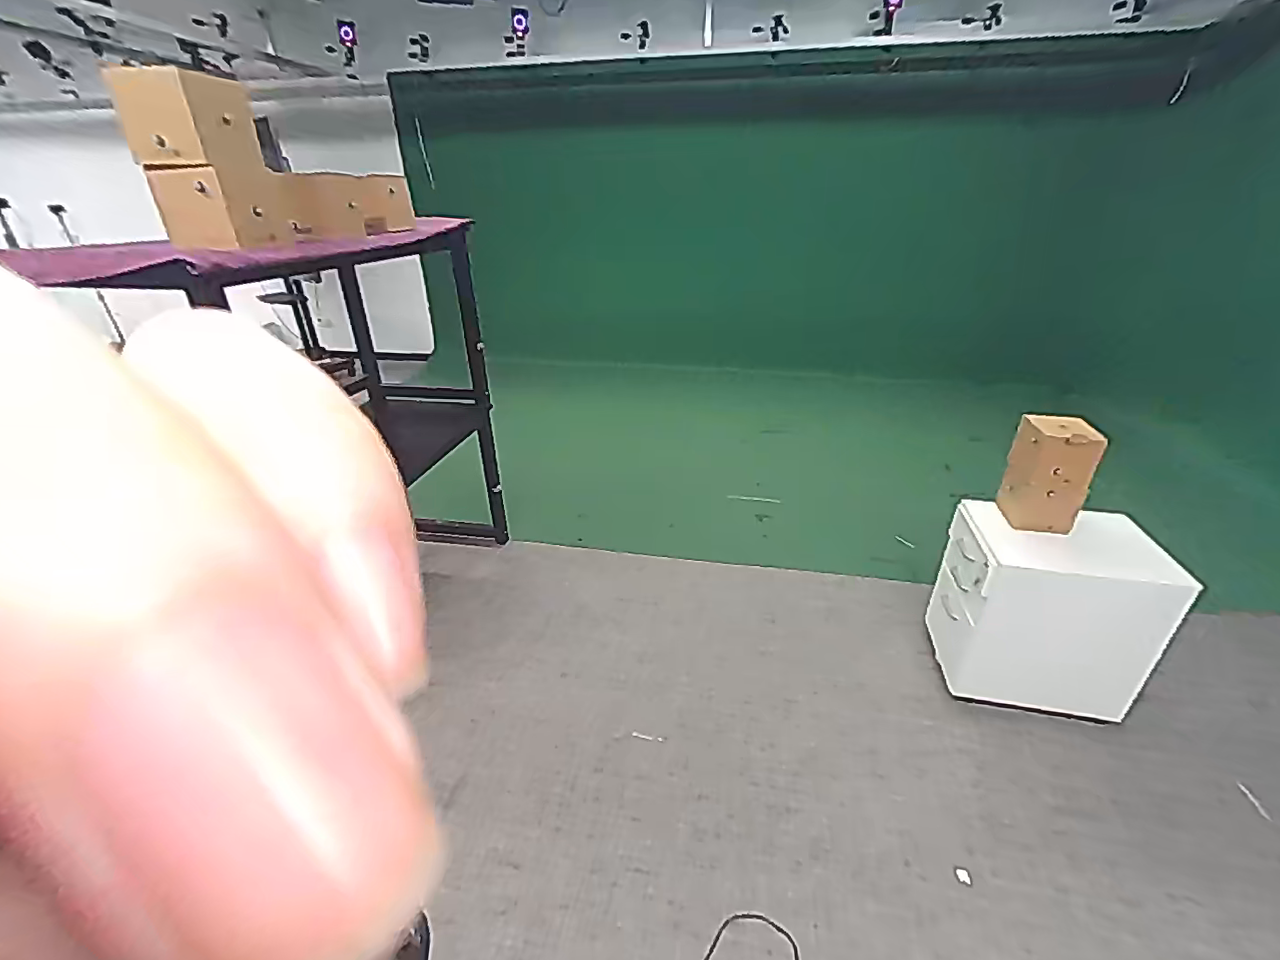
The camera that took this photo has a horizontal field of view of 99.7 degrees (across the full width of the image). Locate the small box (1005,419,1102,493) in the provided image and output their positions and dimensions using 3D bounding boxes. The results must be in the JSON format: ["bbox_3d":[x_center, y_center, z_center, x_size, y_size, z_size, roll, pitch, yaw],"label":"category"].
[{"bbox_3d":[1.289,-0.078,1.703,0.168,0.176,0.179,6,29,11],"label":"small box"}]

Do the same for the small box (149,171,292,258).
[{"bbox_3d":[-0.952,-0.611,1.248,0.179,0.176,0.168,4,26,7],"label":"small box"}]

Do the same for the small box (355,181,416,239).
[{"bbox_3d":[-0.892,-0.915,1.837,0.168,0.176,0.179,3,28,12],"label":"small box"}]

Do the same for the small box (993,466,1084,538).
[{"bbox_3d":[1.295,0.069,1.774,0.168,0.176,0.179,5,28,11],"label":"small box"}]

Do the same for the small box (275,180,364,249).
[{"bbox_3d":[-0.923,-0.764,1.553,0.168,0.176,0.179,3,28,8],"label":"small box"}]
